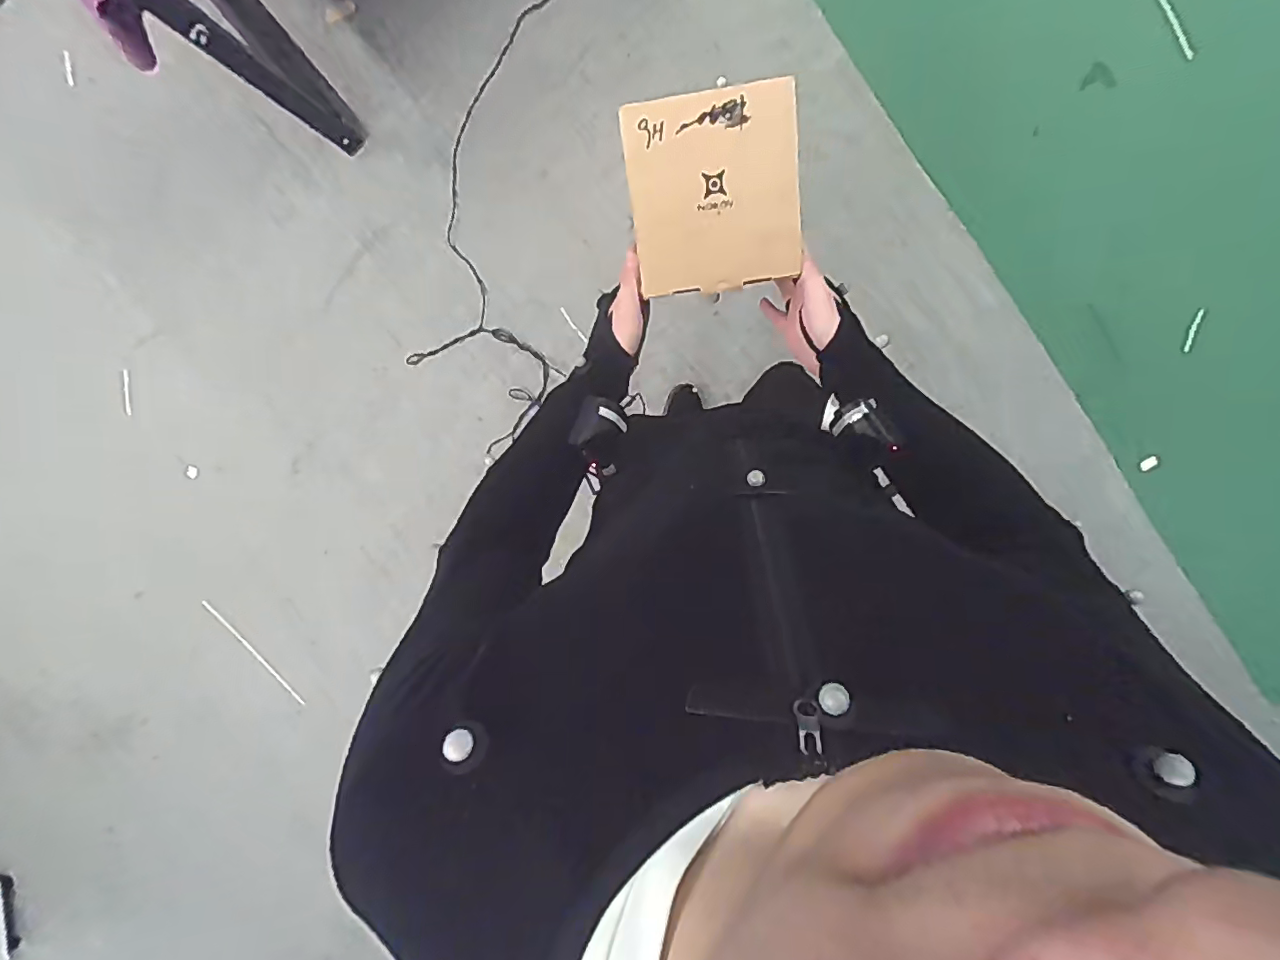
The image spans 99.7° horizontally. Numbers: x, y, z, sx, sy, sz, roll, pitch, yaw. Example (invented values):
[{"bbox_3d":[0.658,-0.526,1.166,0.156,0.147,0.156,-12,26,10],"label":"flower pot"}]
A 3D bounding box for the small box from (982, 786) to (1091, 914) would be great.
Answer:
[{"bbox_3d":[0.778,0.675,1.053,0.168,0.176,0.179,-34,94,9],"label":"small box"}]

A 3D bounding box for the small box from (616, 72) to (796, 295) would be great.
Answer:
[{"bbox_3d":[0.071,-0.312,0.602,0.168,0.176,0.179,-7,111,4],"label":"small box"}]
